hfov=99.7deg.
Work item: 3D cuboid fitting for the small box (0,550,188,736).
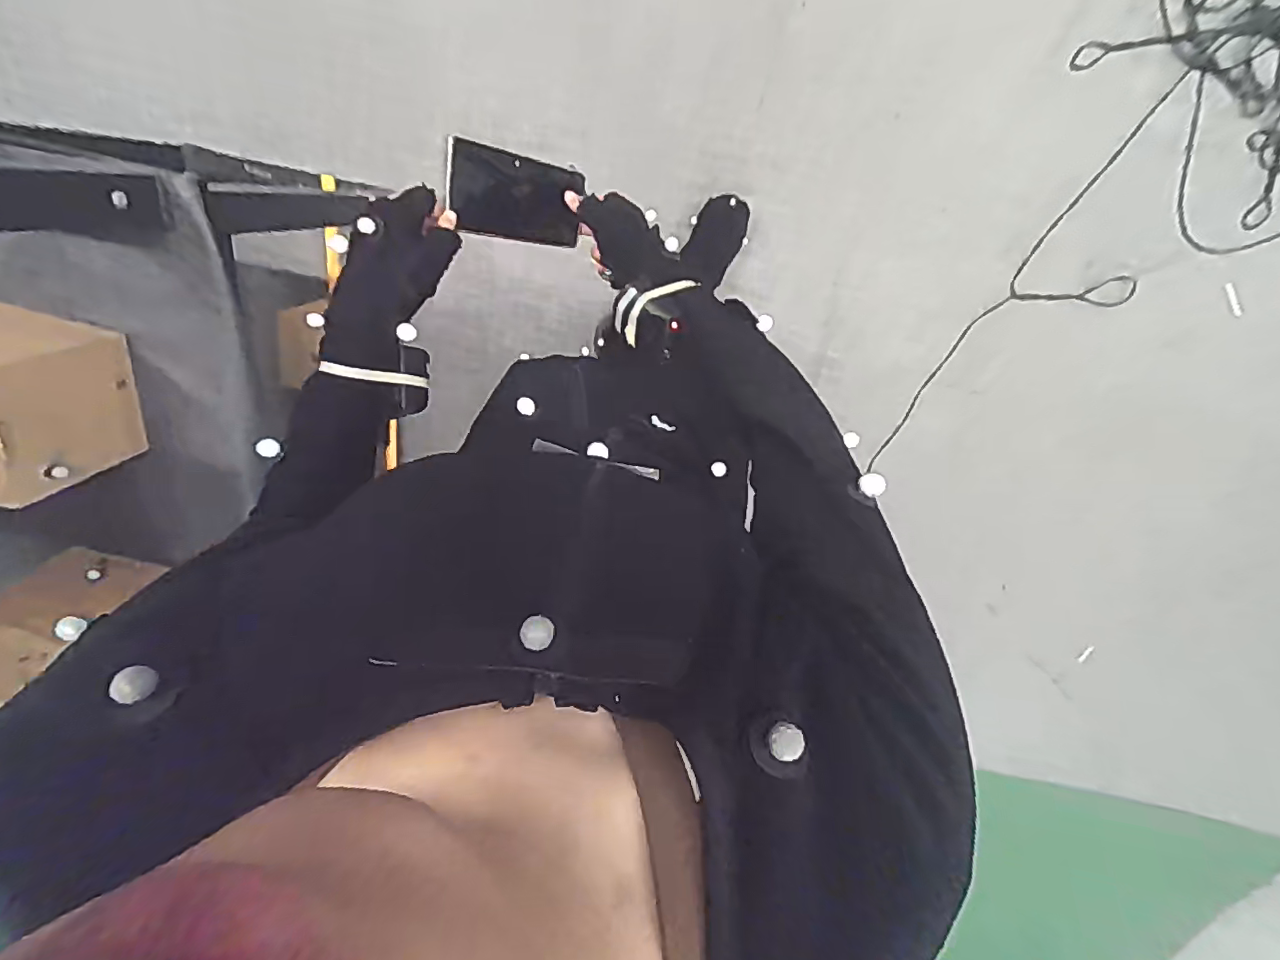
[{"bbox_3d":[-0.813,0.233,0.794,0.168,0.176,0.179,14,117,-4],"label":"small box"}]

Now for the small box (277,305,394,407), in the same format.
[{"bbox_3d":[-0.680,-0.286,1.225,0.179,0.176,0.168,14,116,-4],"label":"small box"}]
